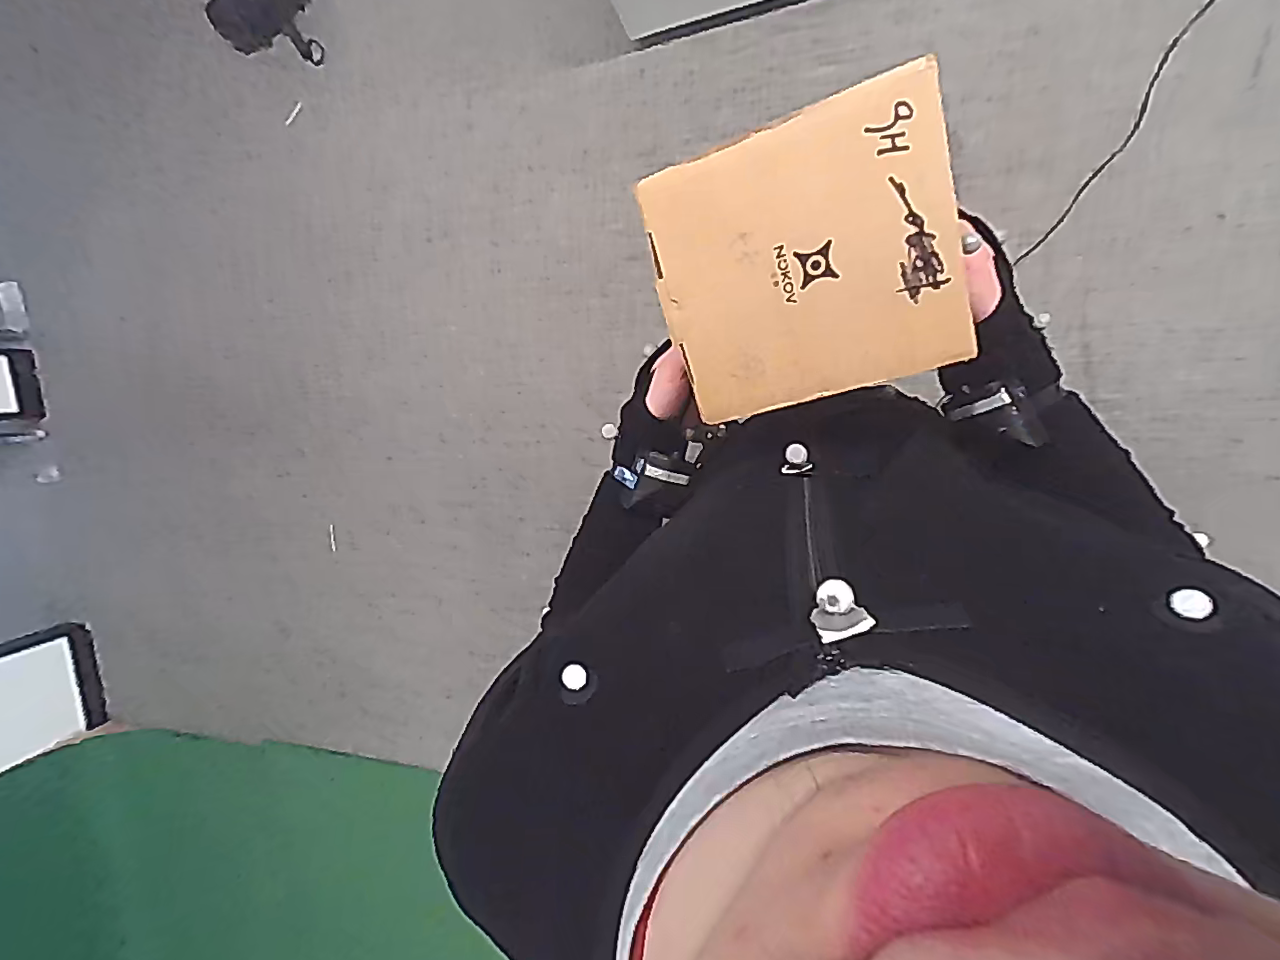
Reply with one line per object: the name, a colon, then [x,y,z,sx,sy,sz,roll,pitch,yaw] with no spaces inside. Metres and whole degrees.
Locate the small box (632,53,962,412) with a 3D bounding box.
small box: [0.118,-0.164,0.407,0.179,0.176,0.168,-11,107,21]
